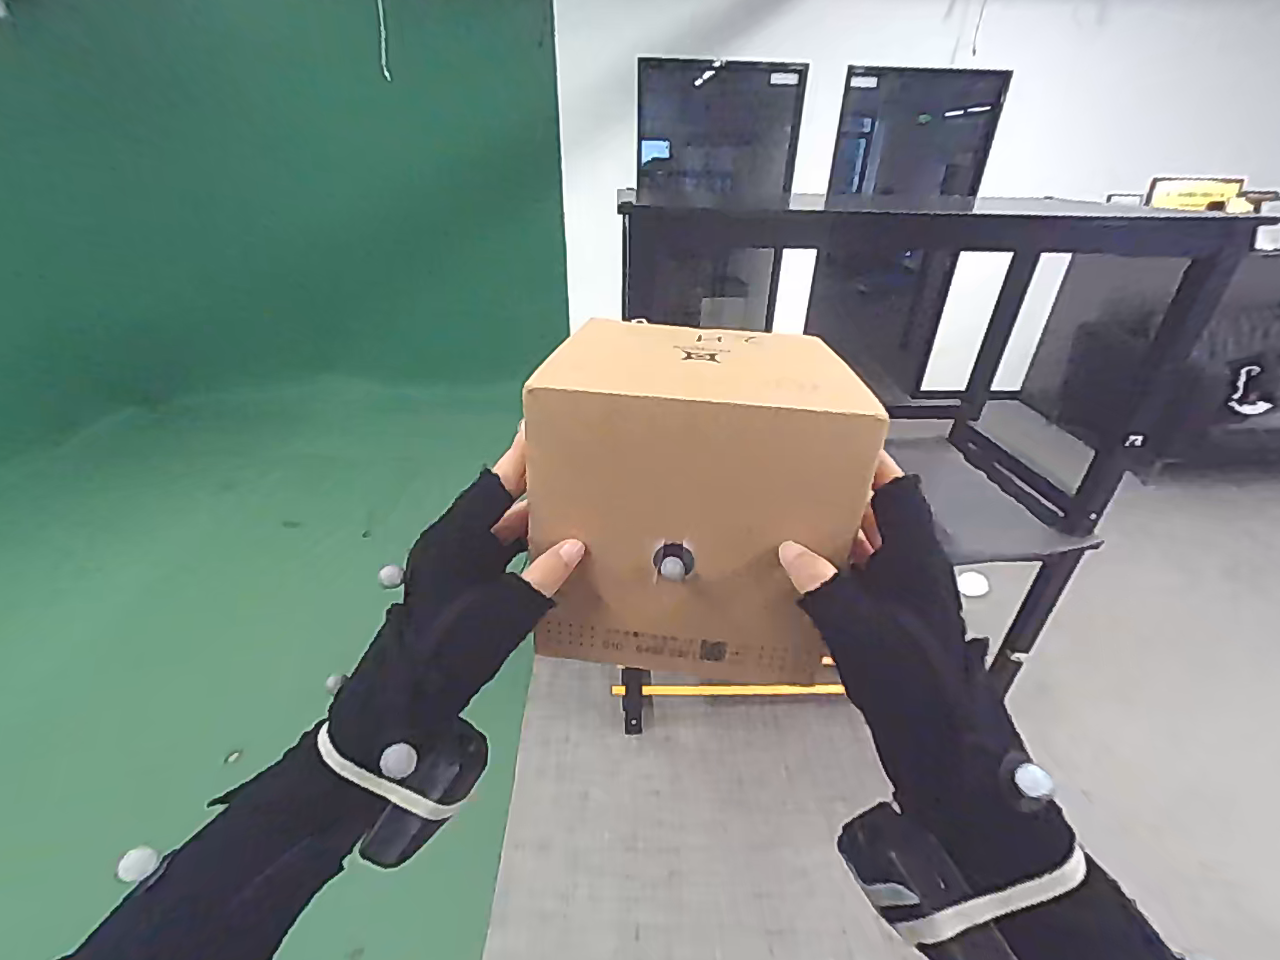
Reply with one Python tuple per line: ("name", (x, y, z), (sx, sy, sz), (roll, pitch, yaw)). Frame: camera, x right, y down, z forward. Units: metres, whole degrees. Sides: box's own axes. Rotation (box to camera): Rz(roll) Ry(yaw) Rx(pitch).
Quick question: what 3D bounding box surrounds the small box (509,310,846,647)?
("small box", (0.023, -0.012, 0.365), (0.168, 0.176, 0.179), (6, 25, 4))
